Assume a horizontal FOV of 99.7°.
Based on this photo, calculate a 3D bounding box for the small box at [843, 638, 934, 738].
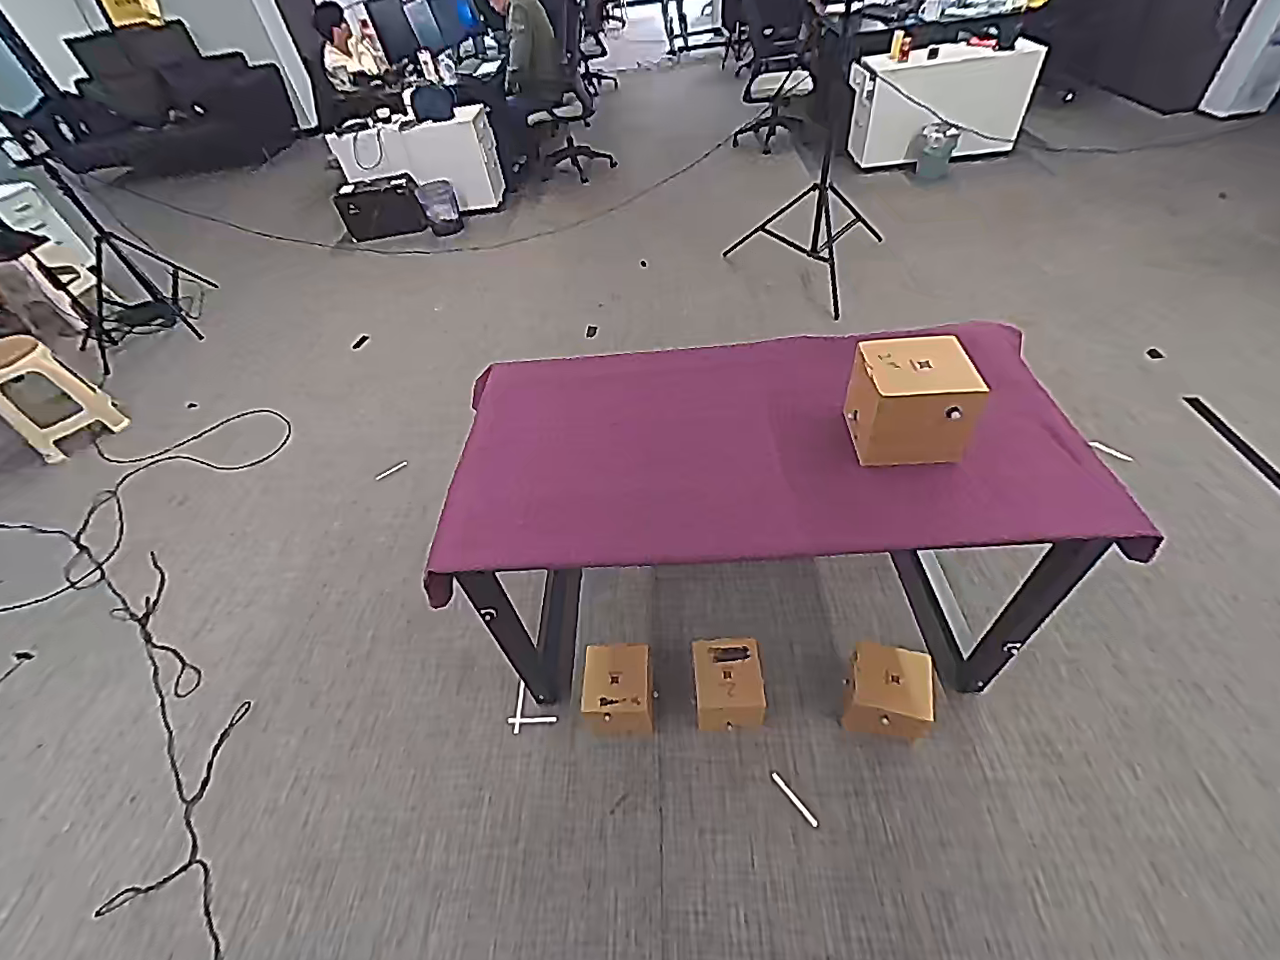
[{"bbox_3d":[0.619,0.526,1.358,0.179,0.176,0.168,8,50,17],"label":"small box"}]

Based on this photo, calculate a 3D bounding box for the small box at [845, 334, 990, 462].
[{"bbox_3d":[0.496,-0.148,0.998,0.179,0.176,0.168,-3,46,7],"label":"small box"}]

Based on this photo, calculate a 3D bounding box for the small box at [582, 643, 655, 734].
[{"bbox_3d":[-0.050,0.552,1.432,0.168,0.176,0.179,-2,46,6],"label":"small box"}]
